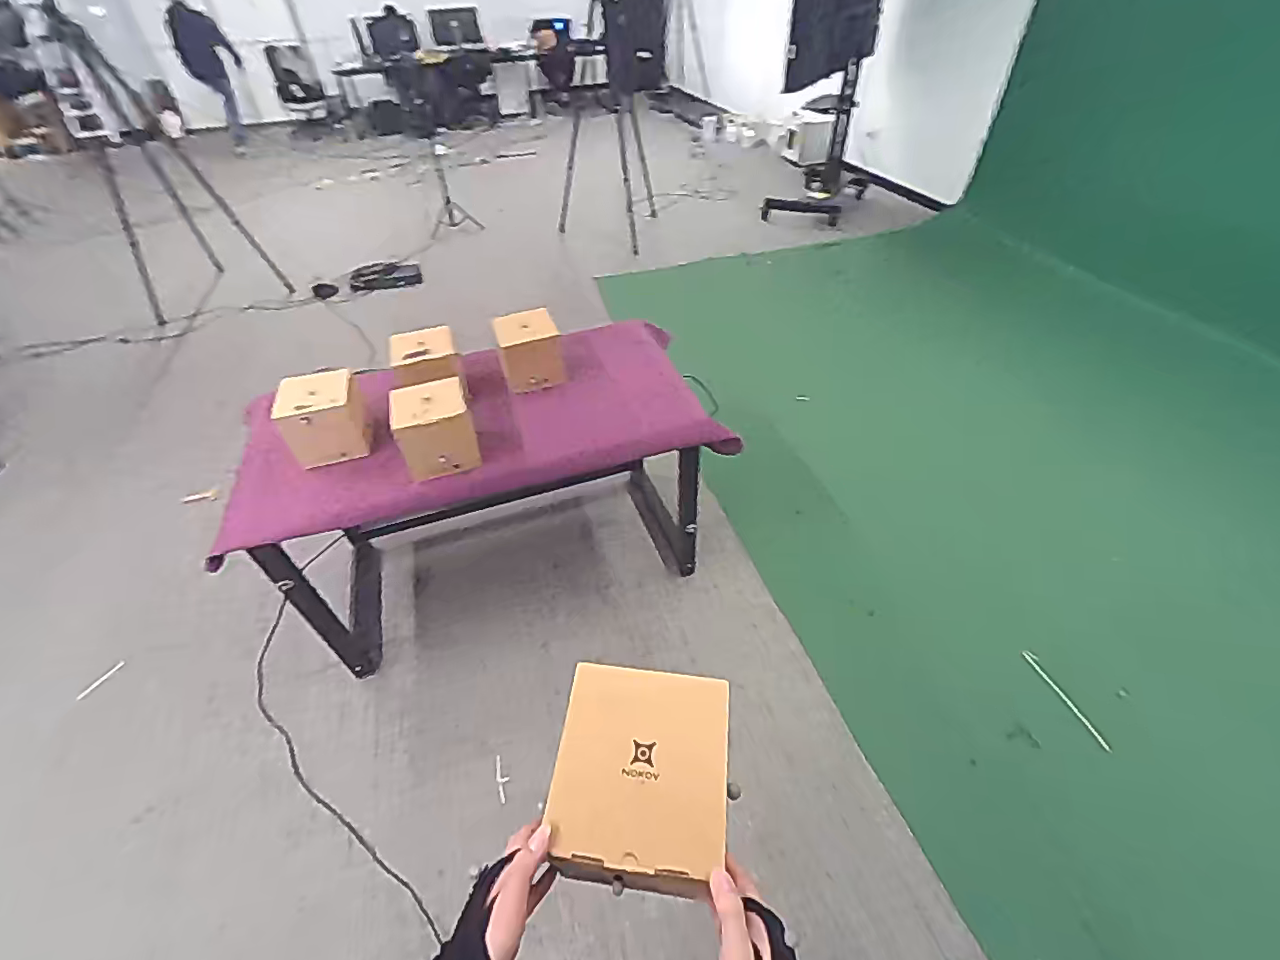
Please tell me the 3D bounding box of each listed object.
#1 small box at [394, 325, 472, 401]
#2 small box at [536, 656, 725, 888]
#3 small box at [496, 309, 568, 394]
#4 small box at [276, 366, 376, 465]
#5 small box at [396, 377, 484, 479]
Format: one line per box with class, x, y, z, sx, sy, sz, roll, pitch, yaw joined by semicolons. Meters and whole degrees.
small box;-0.589;-0.315;1.545;0.168;0.176;0.179;-15;45;-13
small box;-0.003;0.316;0.586;0.168;0.176;0.179;5;50;5
small box;-0.318;-0.381;1.604;0.168;0.176;0.179;-16;46;-12
small box;-0.798;-0.167;1.396;0.168;0.176;0.179;-15;45;-10
small box;-0.498;-0.130;1.348;0.168;0.176;0.179;-15;45;-13
